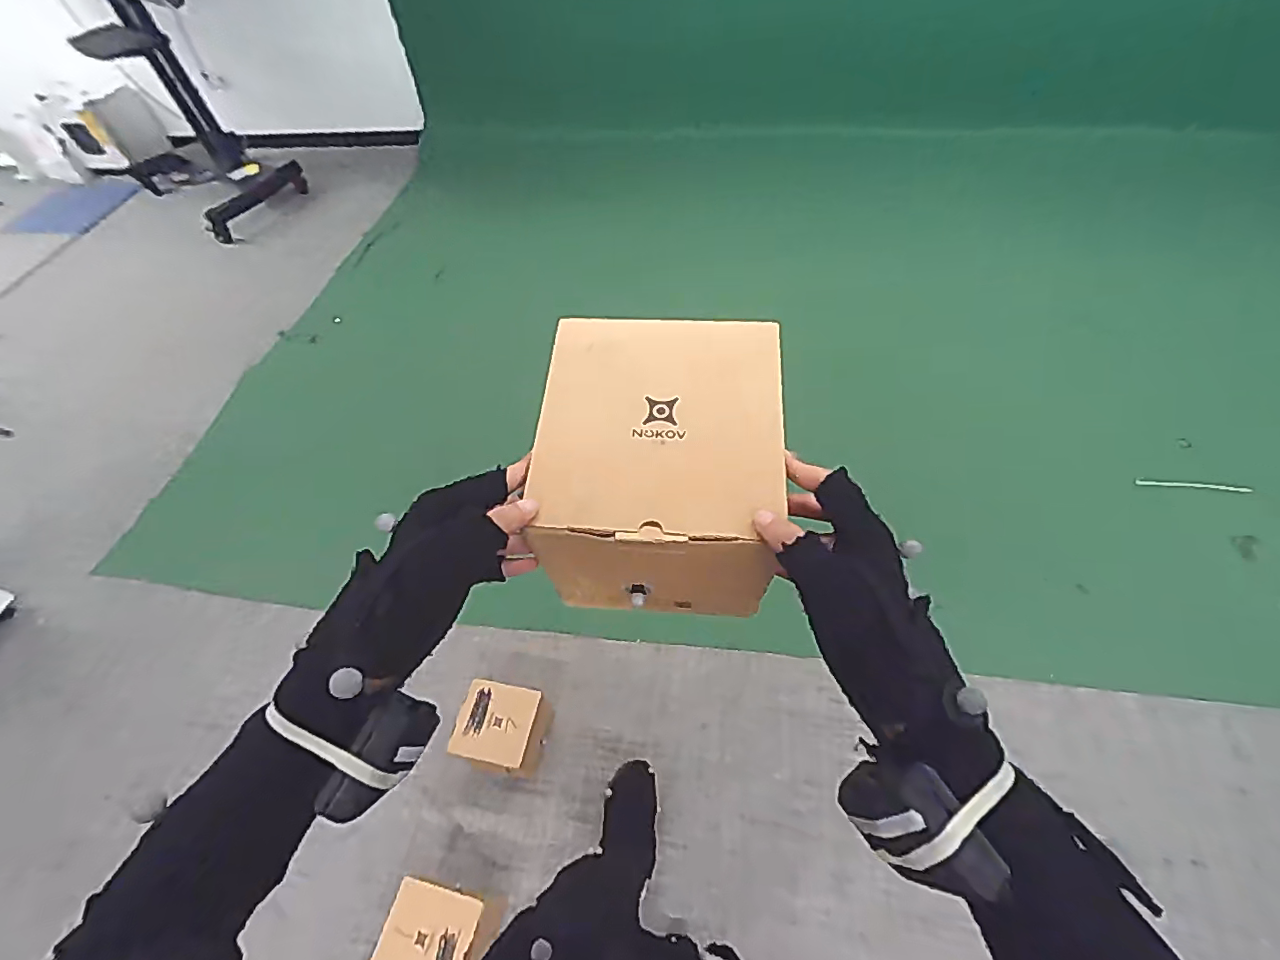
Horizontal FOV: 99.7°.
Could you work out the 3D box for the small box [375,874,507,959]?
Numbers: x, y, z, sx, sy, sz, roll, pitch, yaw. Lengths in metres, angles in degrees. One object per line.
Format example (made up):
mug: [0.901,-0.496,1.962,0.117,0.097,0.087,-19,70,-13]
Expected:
small box: [-0.384,0.897,1.065,0.179,0.176,0.168,9,55,12]
